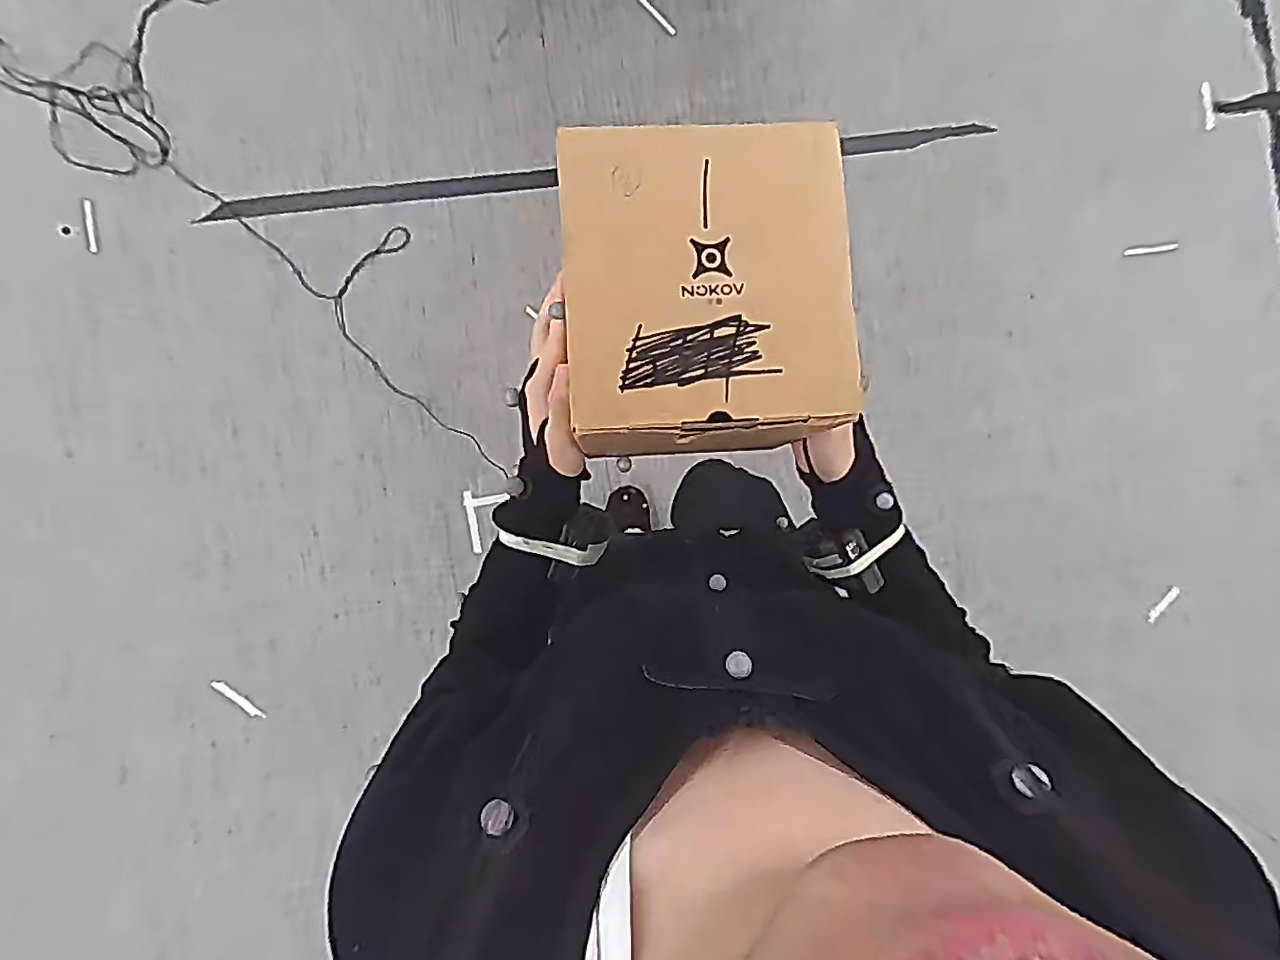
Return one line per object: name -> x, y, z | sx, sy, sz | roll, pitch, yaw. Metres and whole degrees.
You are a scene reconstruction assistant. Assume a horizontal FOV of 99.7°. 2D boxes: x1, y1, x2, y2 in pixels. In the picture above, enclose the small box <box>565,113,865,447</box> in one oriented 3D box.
small box -> 0.040, -0.118, 0.386 | 0.168, 0.176, 0.179 | -3, 87, -3
